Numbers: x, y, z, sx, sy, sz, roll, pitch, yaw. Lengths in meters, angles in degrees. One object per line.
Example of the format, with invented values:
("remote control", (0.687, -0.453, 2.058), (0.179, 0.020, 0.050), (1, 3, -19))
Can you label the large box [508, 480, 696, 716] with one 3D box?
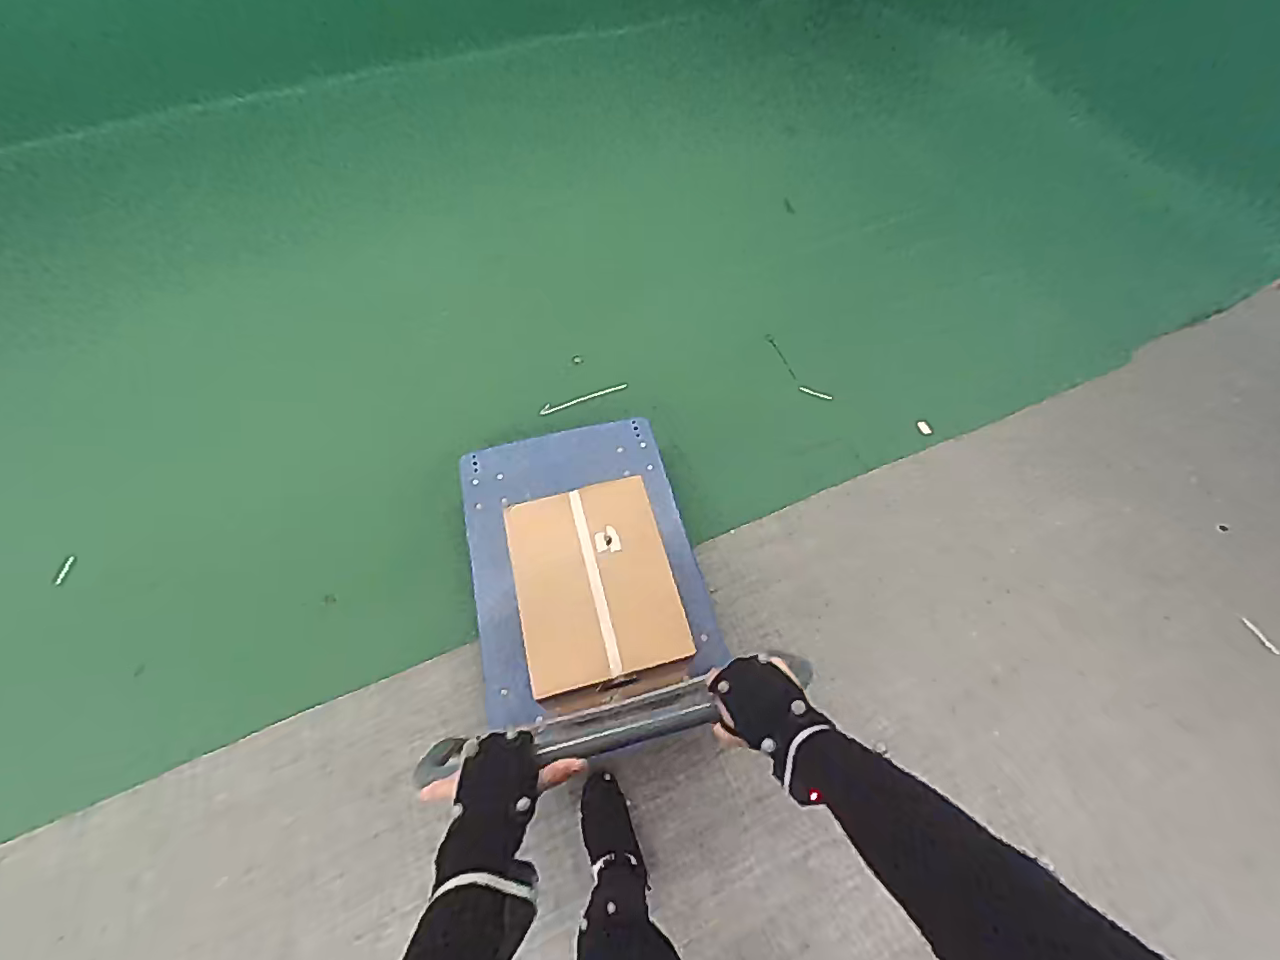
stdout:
("large box", (-0.088, 0.274, 1.236), (0.320, 0.320, 0.408), (-13, 61, -7))
